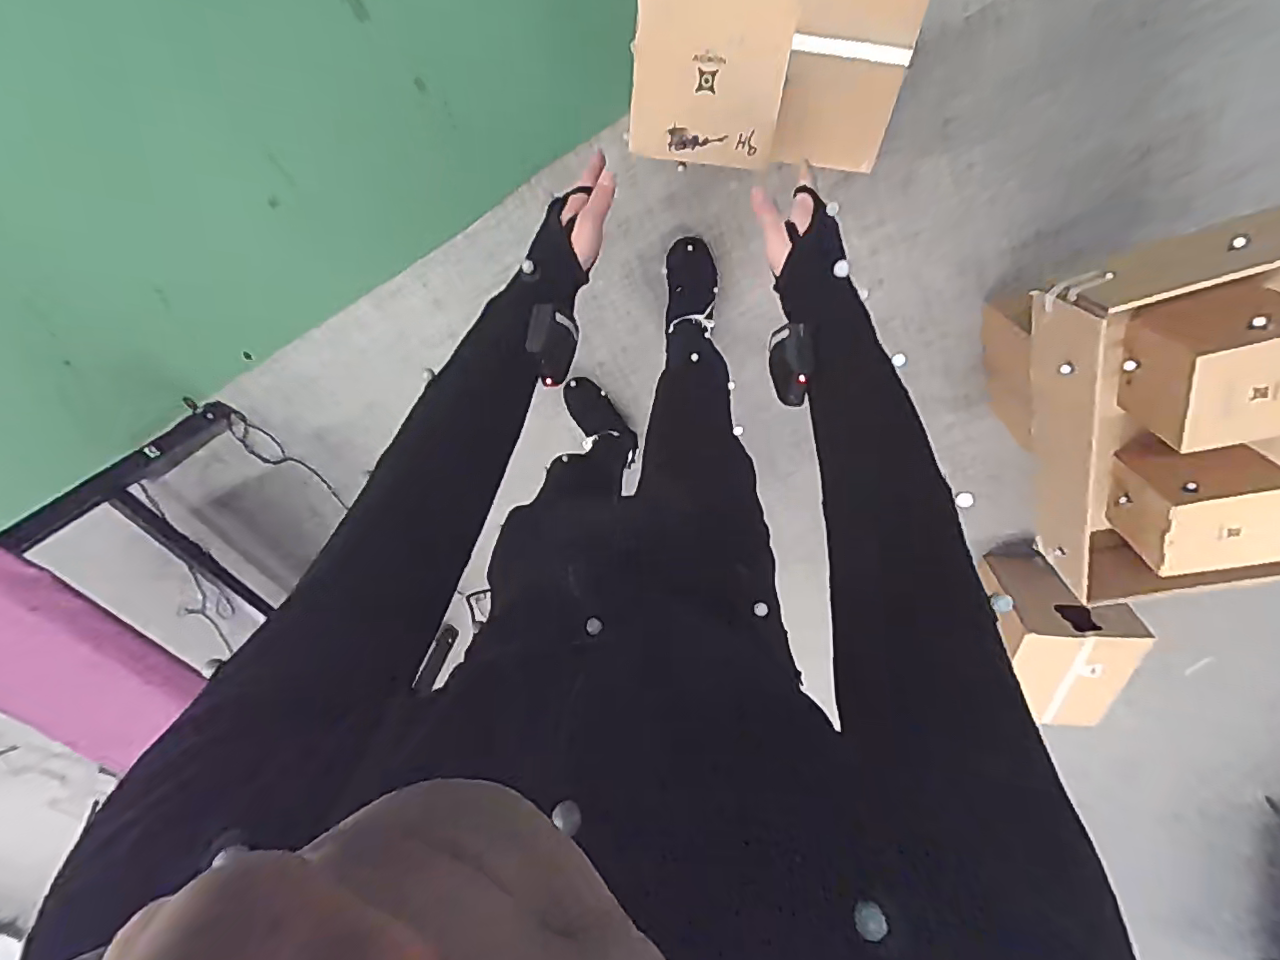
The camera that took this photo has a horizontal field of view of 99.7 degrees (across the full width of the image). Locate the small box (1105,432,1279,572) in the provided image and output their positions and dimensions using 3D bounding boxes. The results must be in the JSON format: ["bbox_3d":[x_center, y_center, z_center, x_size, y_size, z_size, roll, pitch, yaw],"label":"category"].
[{"bbox_3d":[0.982,0.036,0.959,0.179,0.176,0.168,-13,122,18],"label":"small box"}]

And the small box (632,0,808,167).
[{"bbox_3d":[0.088,-0.487,0.638,0.168,0.176,0.179,8,126,1],"label":"small box"}]

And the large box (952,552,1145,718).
[{"bbox_3d":[1.211,0.472,1.665,0.320,0.320,0.408,-1,124,8],"label":"large box"}]

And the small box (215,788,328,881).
[{"bbox_3d":[-1.018,0.990,1.516,0.179,0.176,0.168,-21,119,22],"label":"small box"}]
